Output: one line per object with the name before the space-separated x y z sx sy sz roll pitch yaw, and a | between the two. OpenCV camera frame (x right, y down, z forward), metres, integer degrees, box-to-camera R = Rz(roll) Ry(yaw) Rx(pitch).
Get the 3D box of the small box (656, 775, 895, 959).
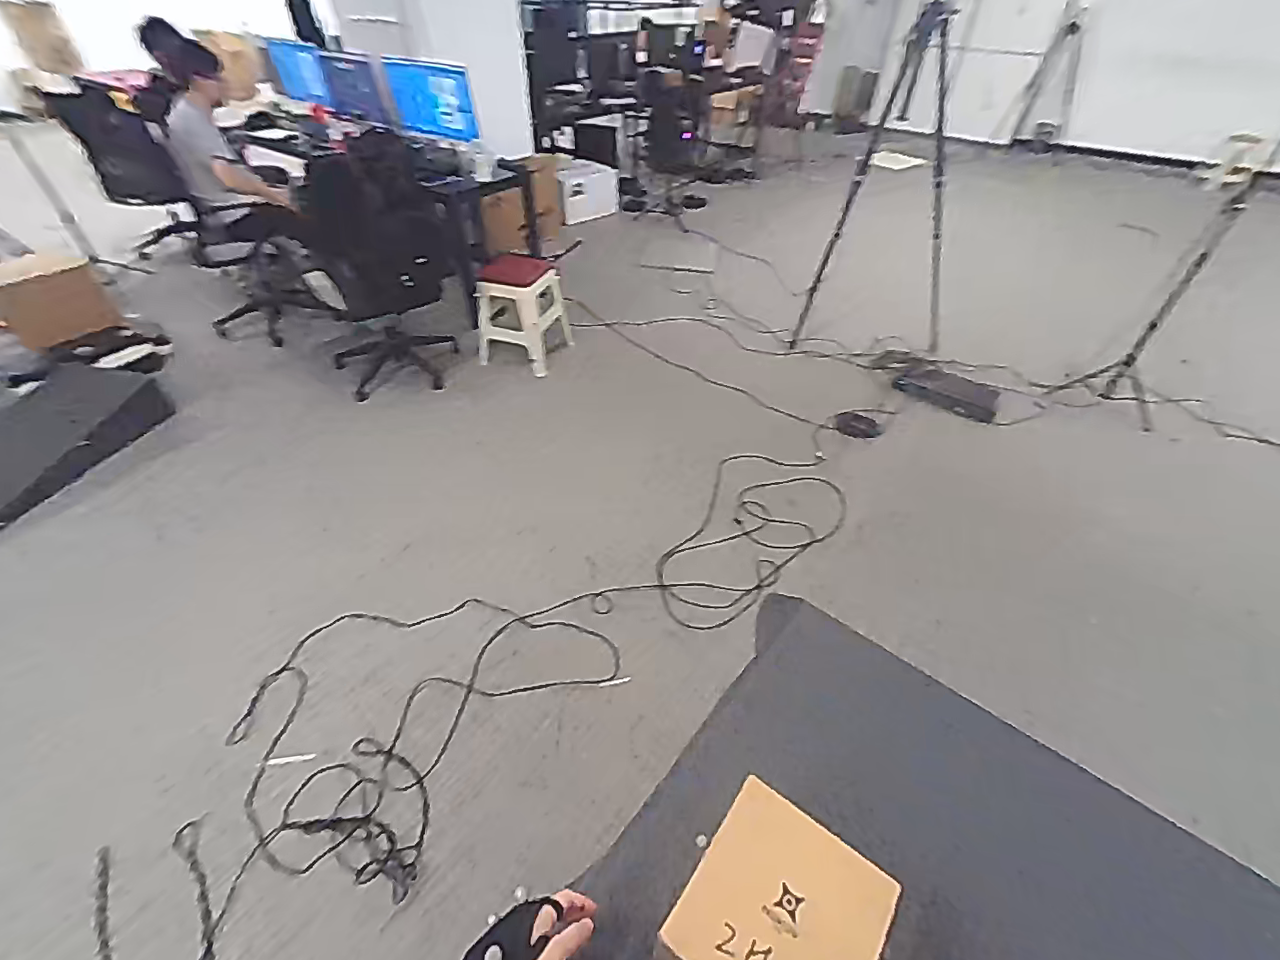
small box | 0.127 0.456 0.556 0.168 0.176 0.179 28 49 26
